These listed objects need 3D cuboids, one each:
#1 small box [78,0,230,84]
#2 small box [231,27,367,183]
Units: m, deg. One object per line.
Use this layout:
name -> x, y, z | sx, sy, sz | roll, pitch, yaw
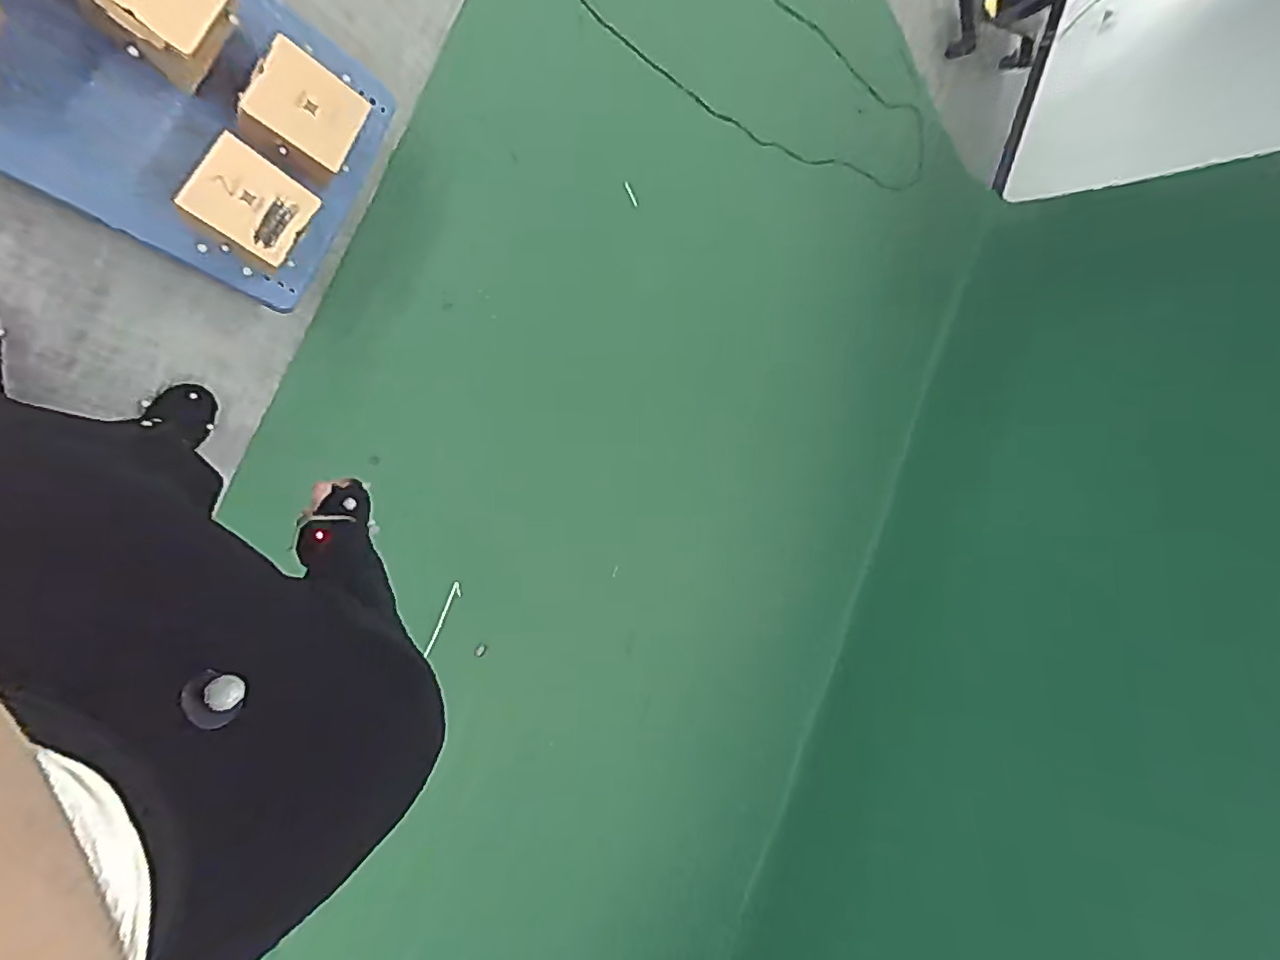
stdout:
small box -> -0.851, -0.855, 0.945 | 0.168, 0.176, 0.179 | 31, 80, -37
small box -> -0.693, -0.740, 1.094 | 0.179, 0.176, 0.168 | 29, 81, -38
